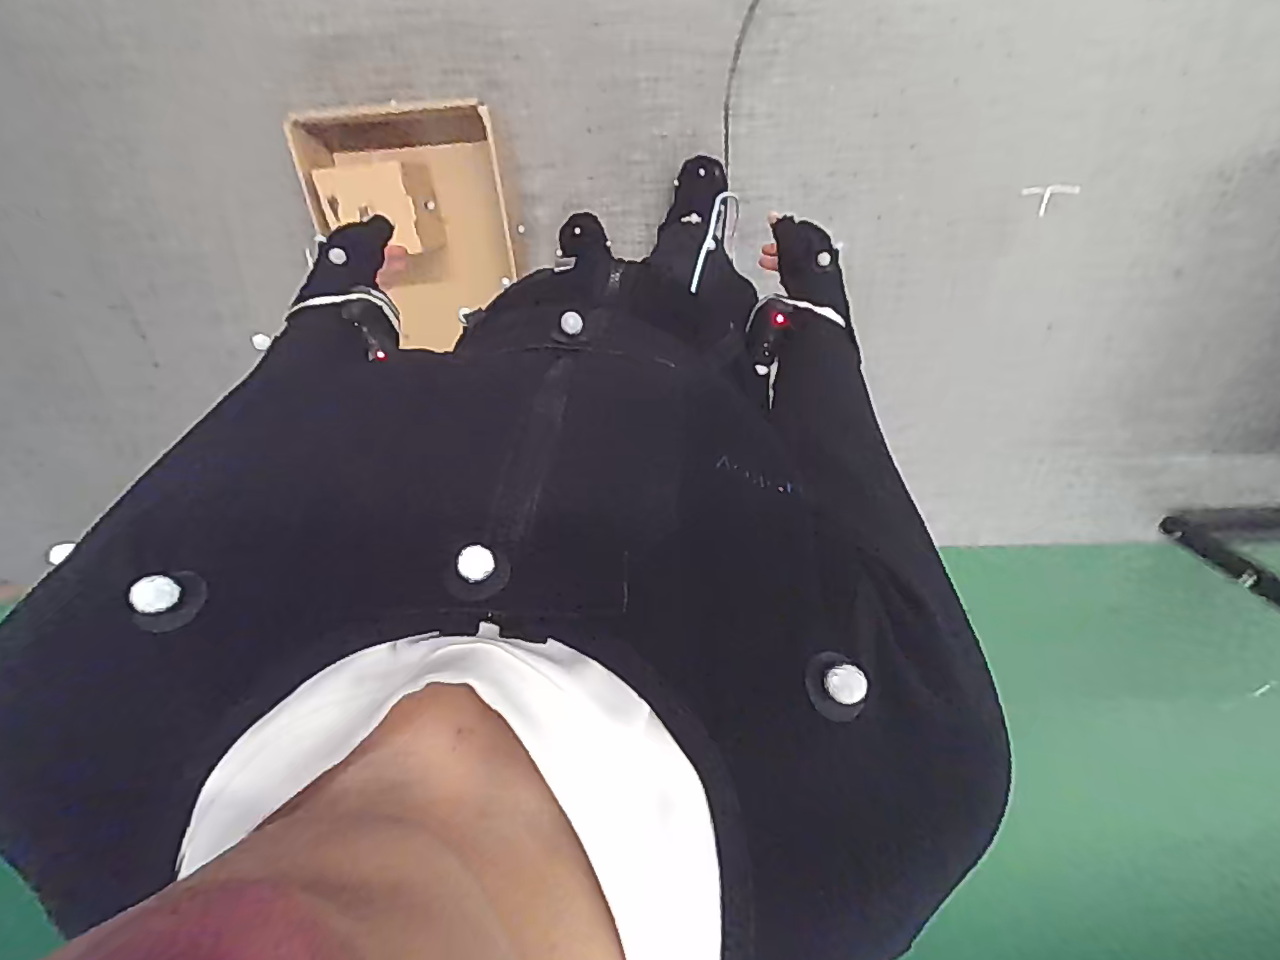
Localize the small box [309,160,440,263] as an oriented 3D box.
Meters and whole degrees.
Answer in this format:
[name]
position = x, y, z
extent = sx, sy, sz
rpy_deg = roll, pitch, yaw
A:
[small box]
position = -0.540, -0.568, 1.137
extent = 0.179, 0.176, 0.168
rpy_deg = -7, 121, 4
